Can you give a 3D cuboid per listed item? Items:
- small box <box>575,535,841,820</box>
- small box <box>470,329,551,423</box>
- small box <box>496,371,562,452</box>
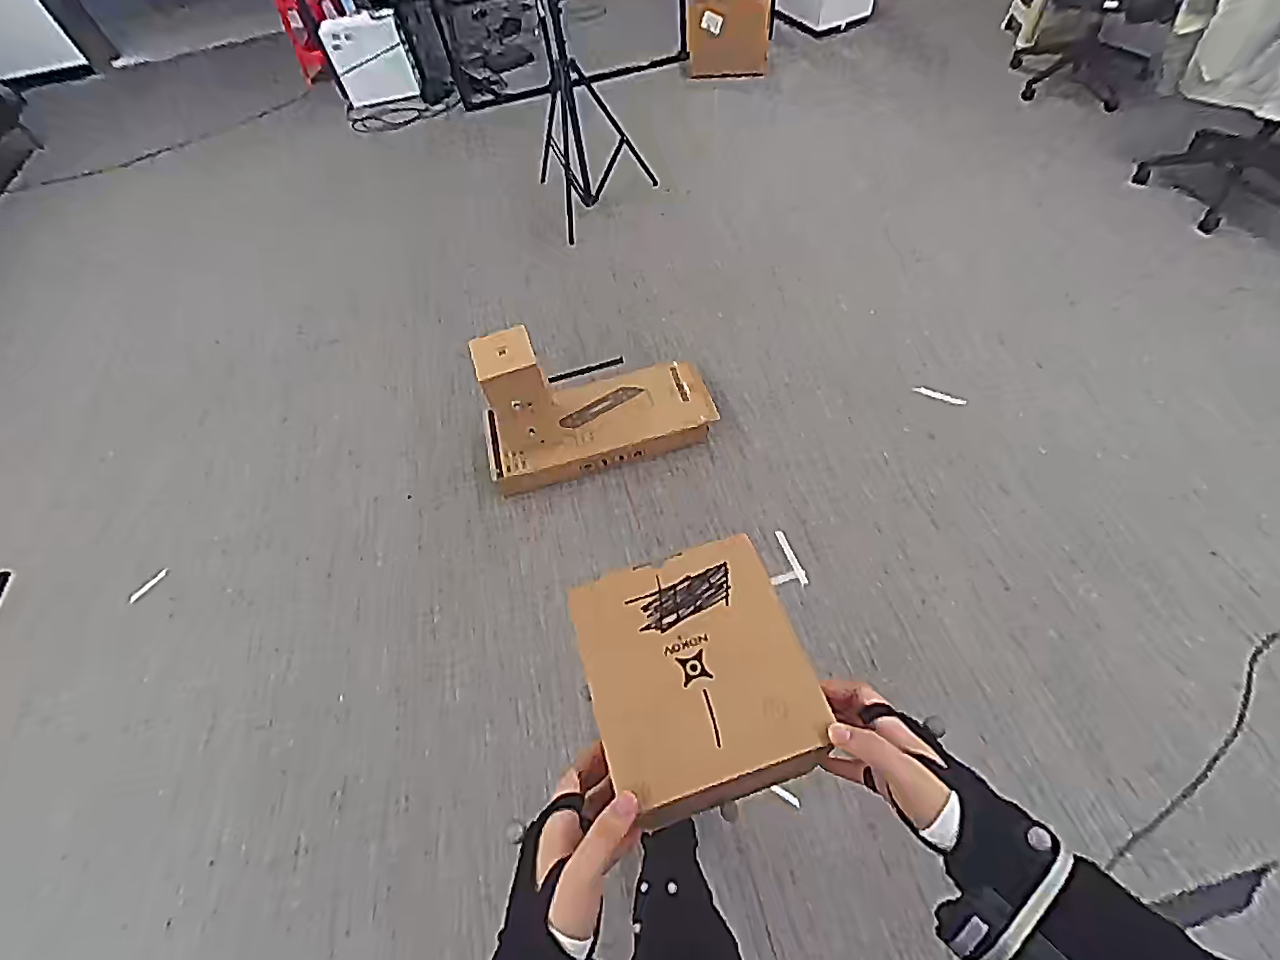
[{"bbox_3d":[0.051,0.182,0.489,0.168,0.176,0.179,-17,55,-4],"label":"small box"},{"bbox_3d":[-0.368,-0.296,1.551,0.168,0.176,0.179,-20,57,-7],"label":"small box"},{"bbox_3d":[-0.349,-0.207,1.687,0.168,0.176,0.179,-14,56,-4],"label":"small box"}]
